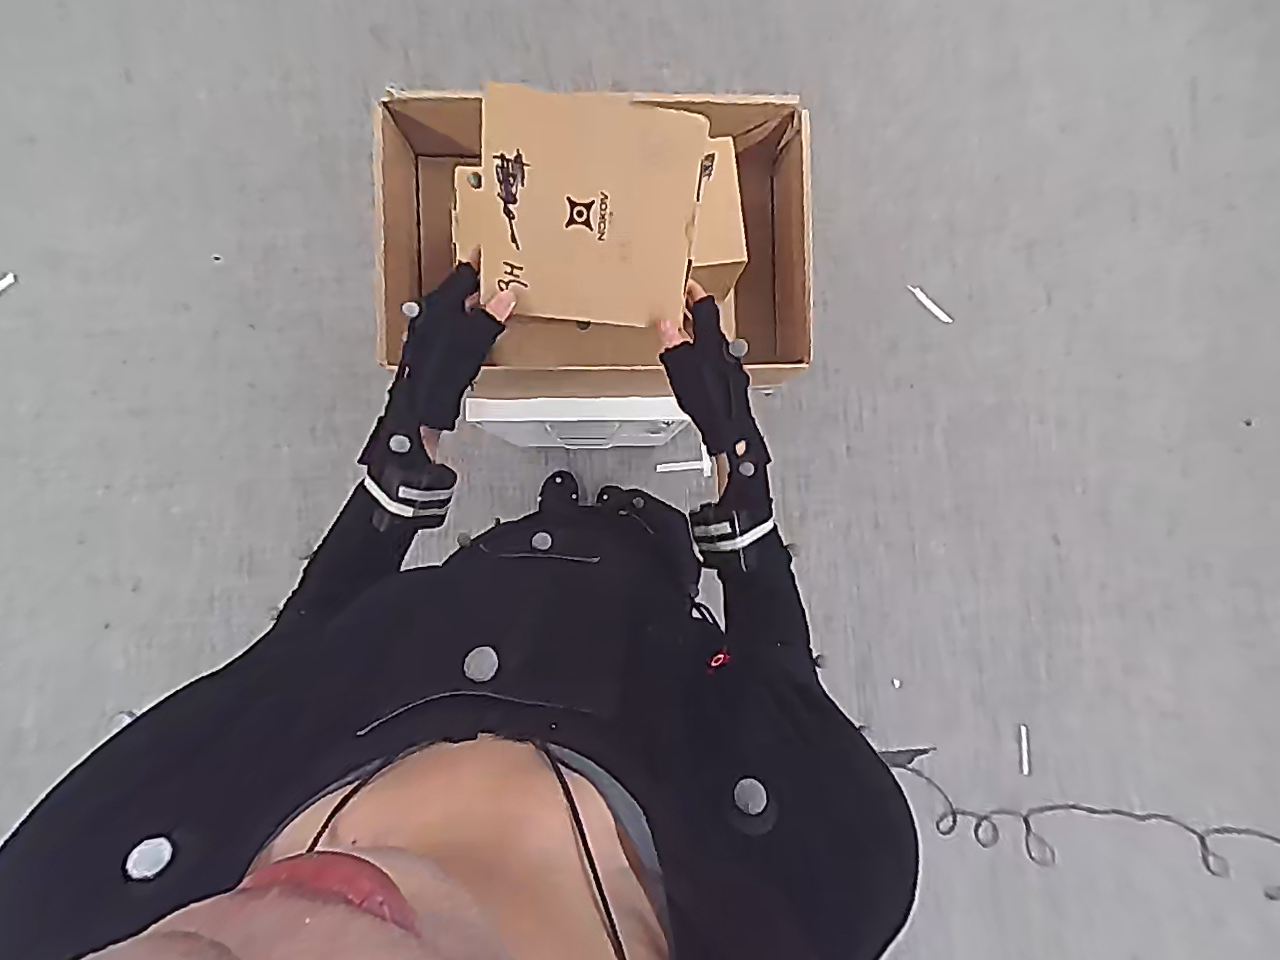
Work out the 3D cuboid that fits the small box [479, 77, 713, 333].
[{"bbox_3d":[-0.047,-0.239,0.508,0.179,0.176,0.168,5,109,-9],"label":"small box"}]
